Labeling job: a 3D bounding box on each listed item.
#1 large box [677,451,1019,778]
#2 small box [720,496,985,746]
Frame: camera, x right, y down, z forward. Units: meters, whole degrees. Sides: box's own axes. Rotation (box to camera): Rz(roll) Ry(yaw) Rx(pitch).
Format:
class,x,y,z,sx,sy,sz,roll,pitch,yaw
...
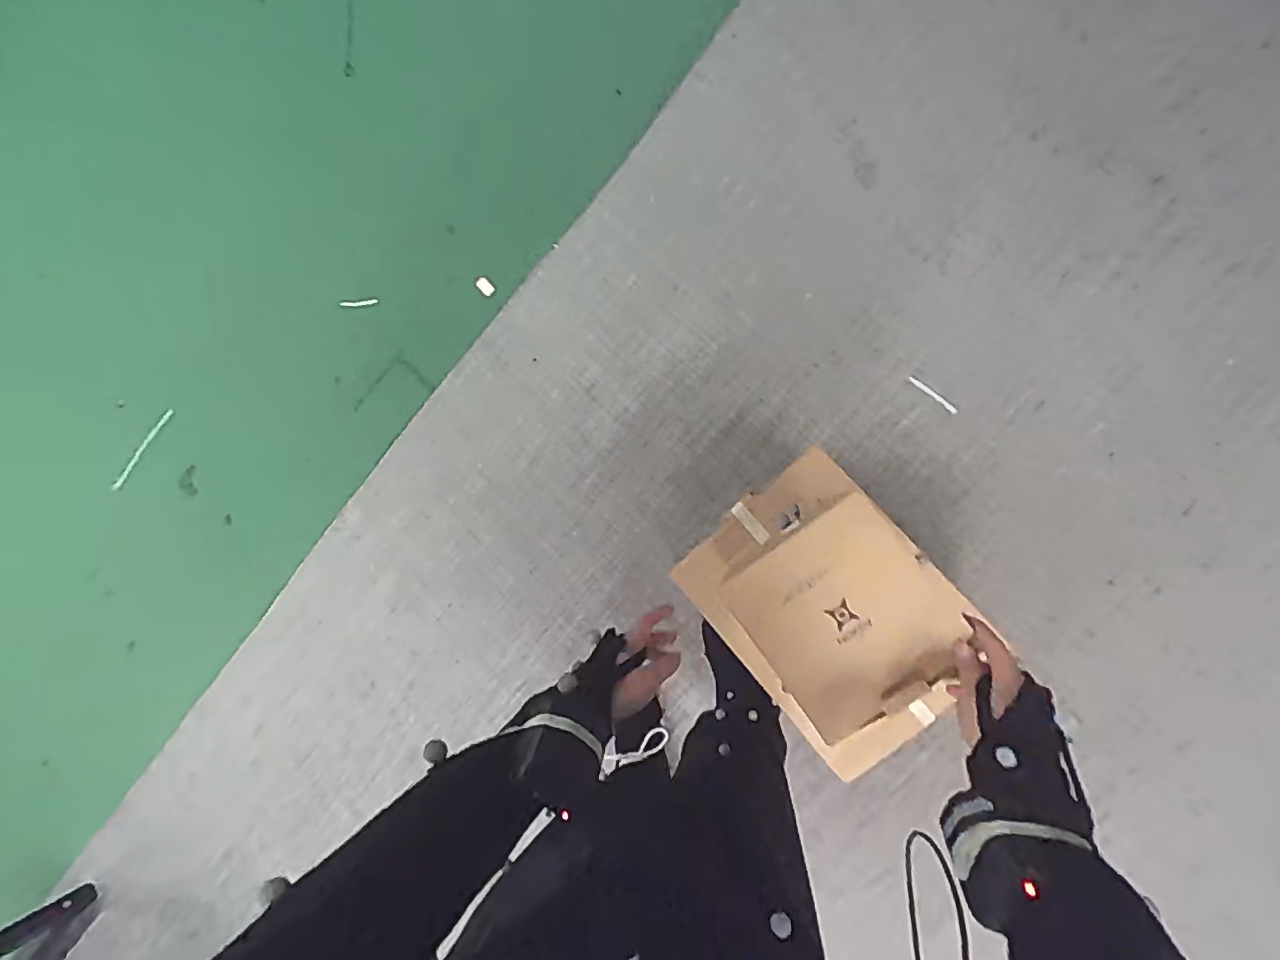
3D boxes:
class,x,y,z,sx,sy,sz,roll,pitch,yaw
large box,0.328,0.203,0.958,0.320,0.320,0.408,-43,79,9
small box,0.206,0.131,0.572,0.168,0.176,0.179,-38,79,8
